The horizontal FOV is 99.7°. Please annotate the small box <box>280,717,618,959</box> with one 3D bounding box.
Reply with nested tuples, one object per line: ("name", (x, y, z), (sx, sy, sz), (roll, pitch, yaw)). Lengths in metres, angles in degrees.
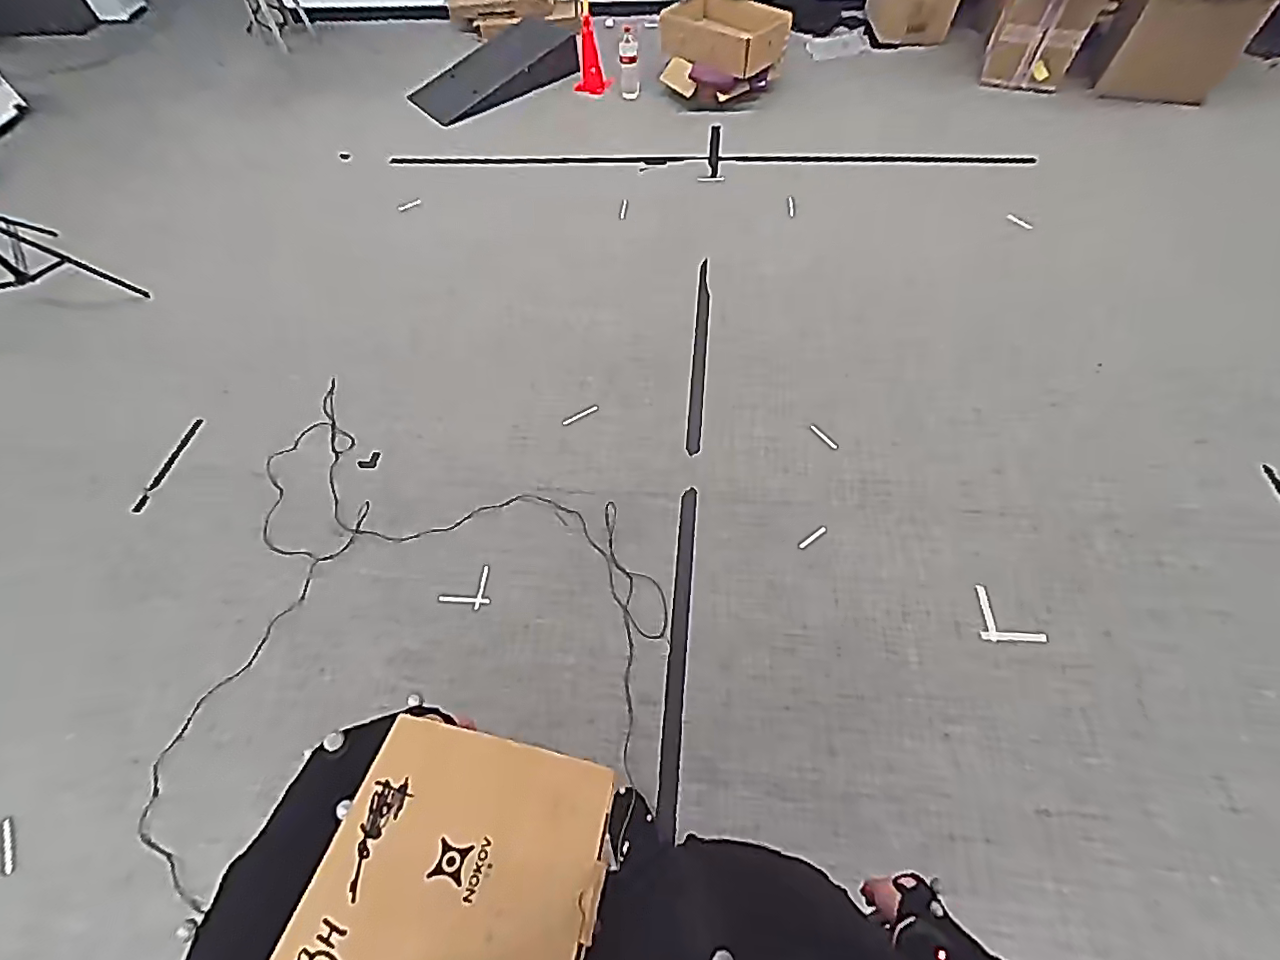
("small box", (-0.130, 0.316, 0.416), (0.179, 0.176, 0.168), (15, 42, 0))
